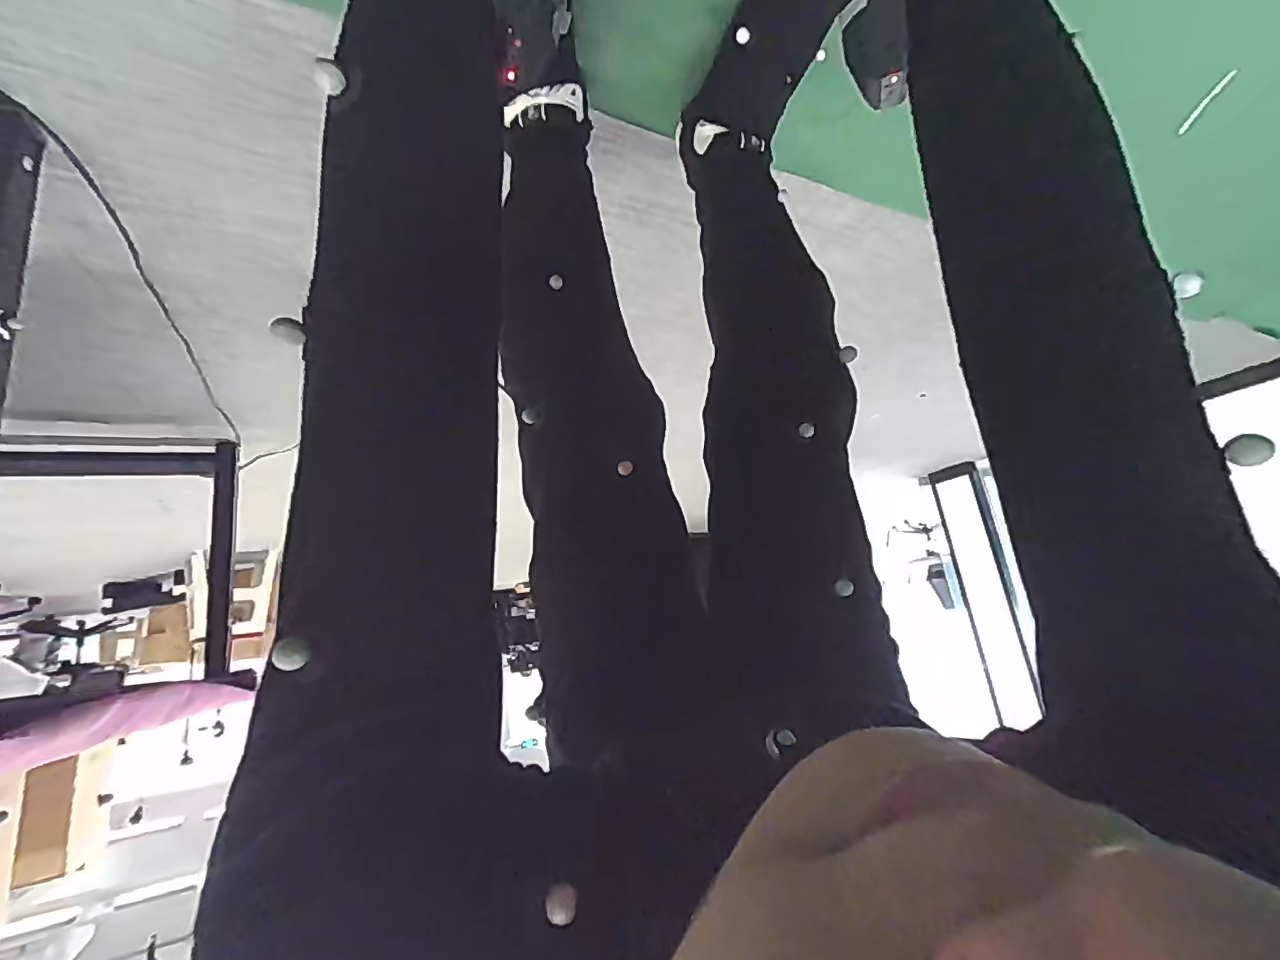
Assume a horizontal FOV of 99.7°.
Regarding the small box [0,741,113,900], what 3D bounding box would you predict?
[{"bbox_3d":[-0.888,0.477,0.765,0.179,0.176,0.168,3,162,-29],"label":"small box"}]
